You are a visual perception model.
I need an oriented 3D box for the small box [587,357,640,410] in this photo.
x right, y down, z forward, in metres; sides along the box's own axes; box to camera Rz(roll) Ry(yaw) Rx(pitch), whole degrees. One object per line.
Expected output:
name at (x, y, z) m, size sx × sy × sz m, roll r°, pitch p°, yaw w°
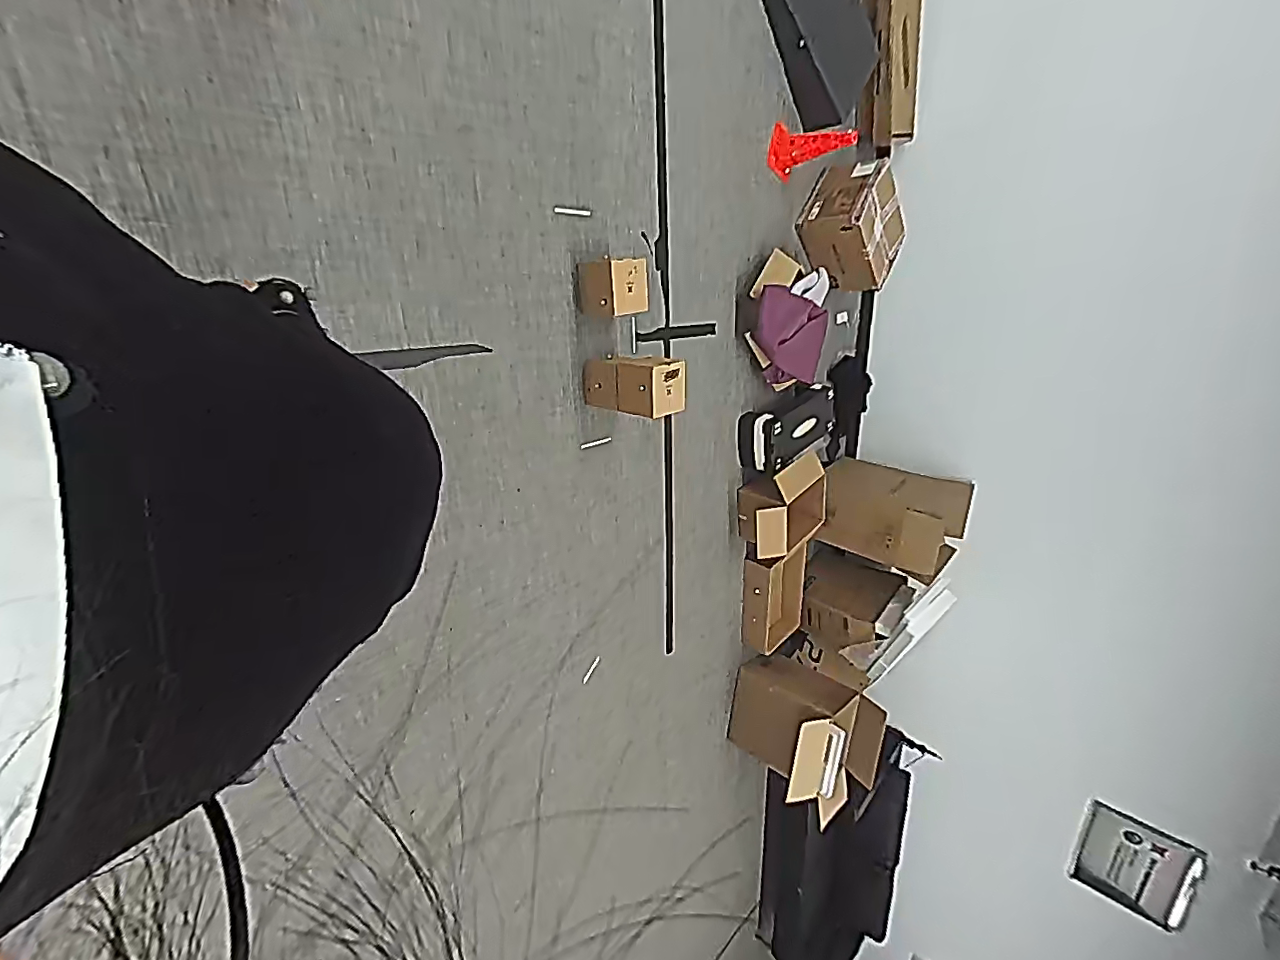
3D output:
small box at (-0.084, -0.358, 1.979) m, size 0.179 × 0.176 × 0.168 m, roll -19°, pitch 117°, yaw -42°

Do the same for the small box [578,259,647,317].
small box at (-0.095, -0.663, 1.858) m, size 0.168 × 0.176 × 0.179 m, roll -24°, pitch 120°, yaw -41°

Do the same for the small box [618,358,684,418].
small box at (0.035, -0.325, 1.869) m, size 0.168 × 0.176 × 0.179 m, roll -21°, pitch 119°, yaw -42°
